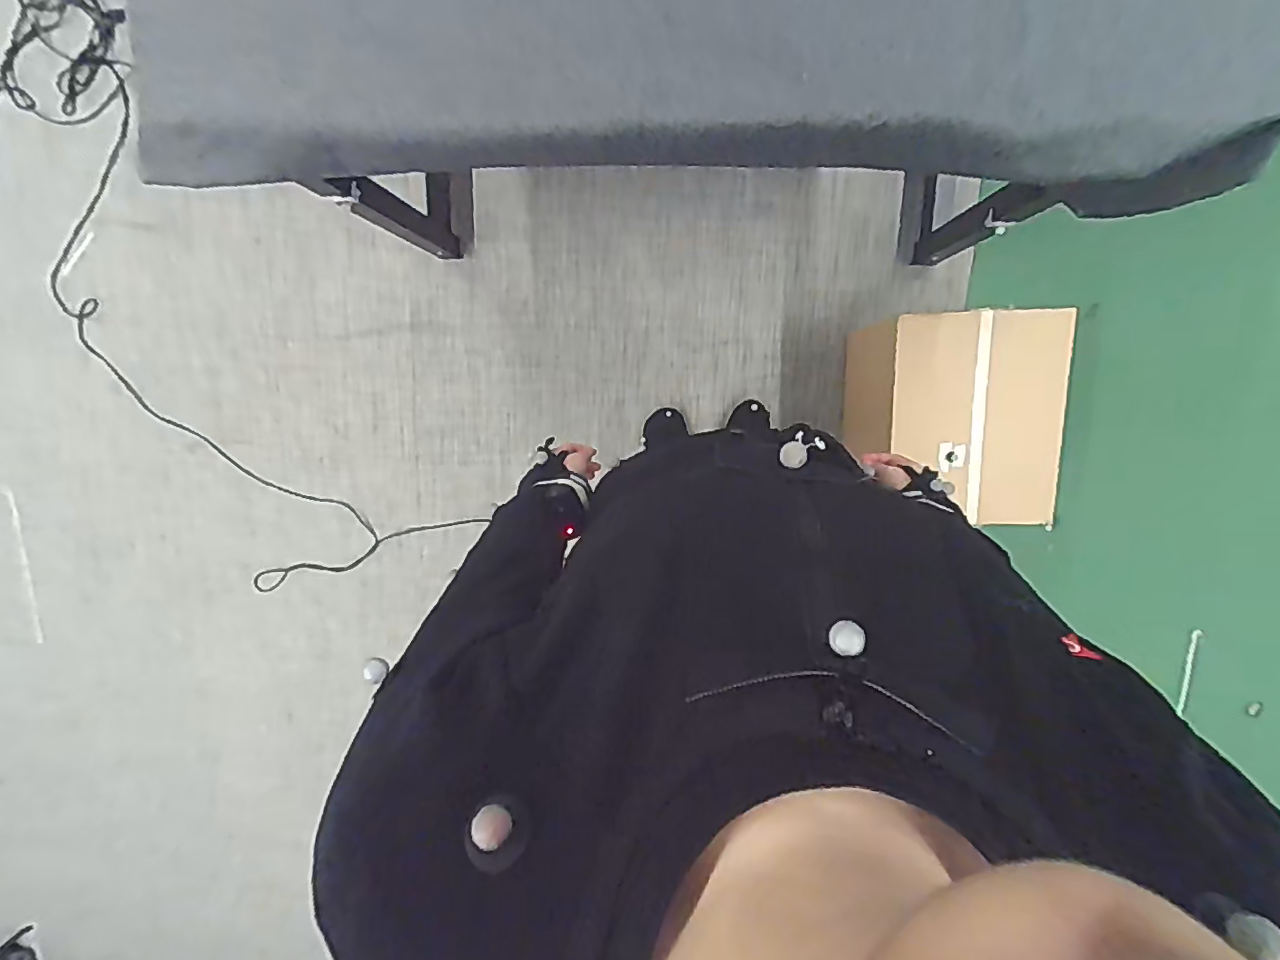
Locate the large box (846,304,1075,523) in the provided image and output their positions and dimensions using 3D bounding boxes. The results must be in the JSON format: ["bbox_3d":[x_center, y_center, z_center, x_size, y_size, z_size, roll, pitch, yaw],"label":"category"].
[{"bbox_3d":[0.644,-0.143,1.154,0.320,0.320,0.408,-1,100,5],"label":"large box"}]
